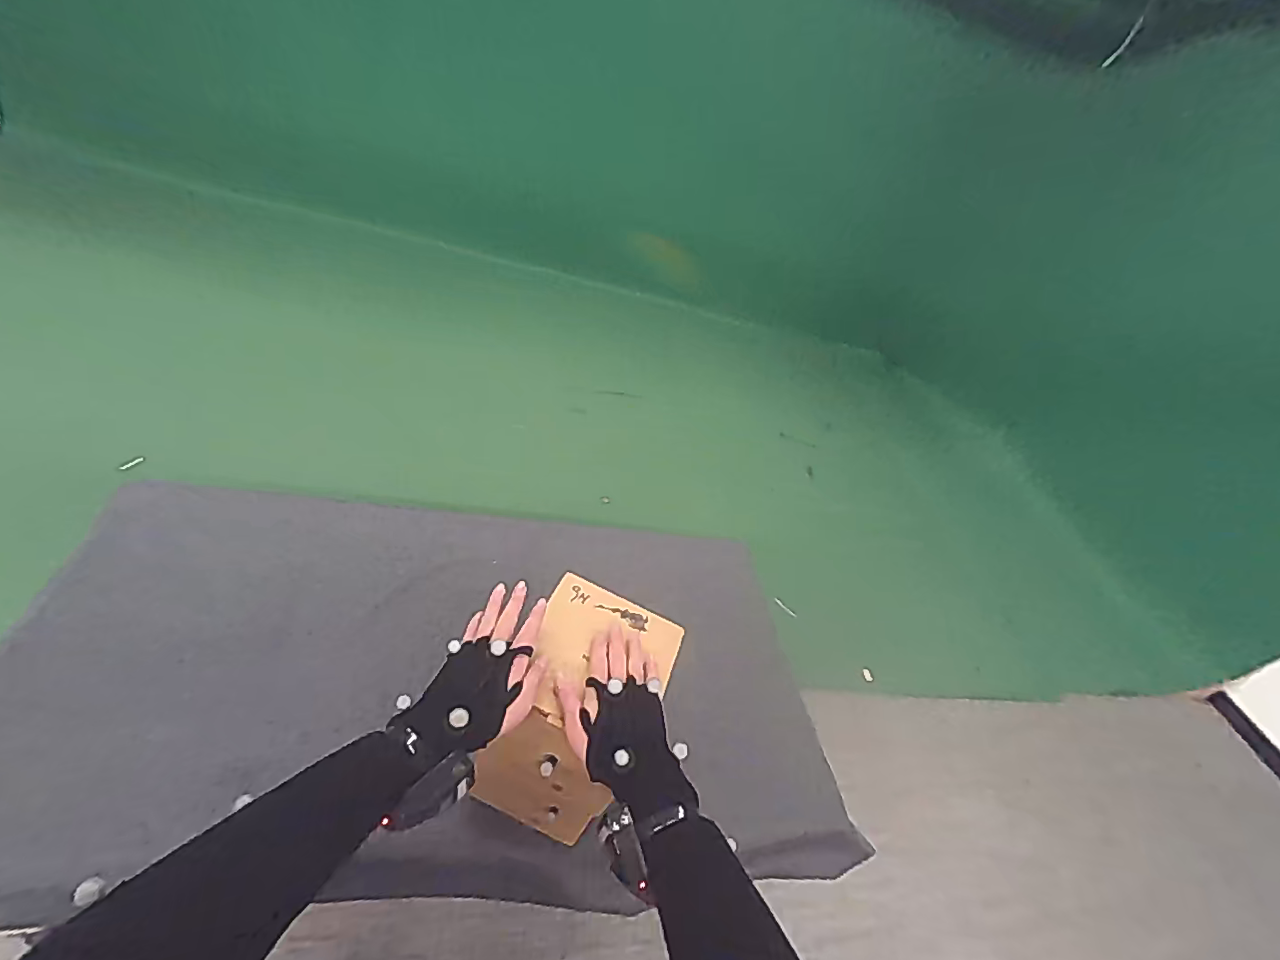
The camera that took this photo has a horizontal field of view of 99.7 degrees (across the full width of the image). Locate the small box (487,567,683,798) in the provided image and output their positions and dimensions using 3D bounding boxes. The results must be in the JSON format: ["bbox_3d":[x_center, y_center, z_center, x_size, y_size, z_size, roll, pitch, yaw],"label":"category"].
[{"bbox_3d":[-0.070,0.248,0.658,0.168,0.176,0.179,26,41,3],"label":"small box"}]

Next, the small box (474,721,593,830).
[{"bbox_3d":[-0.120,0.356,0.770,0.168,0.176,0.179,25,38,3],"label":"small box"}]
